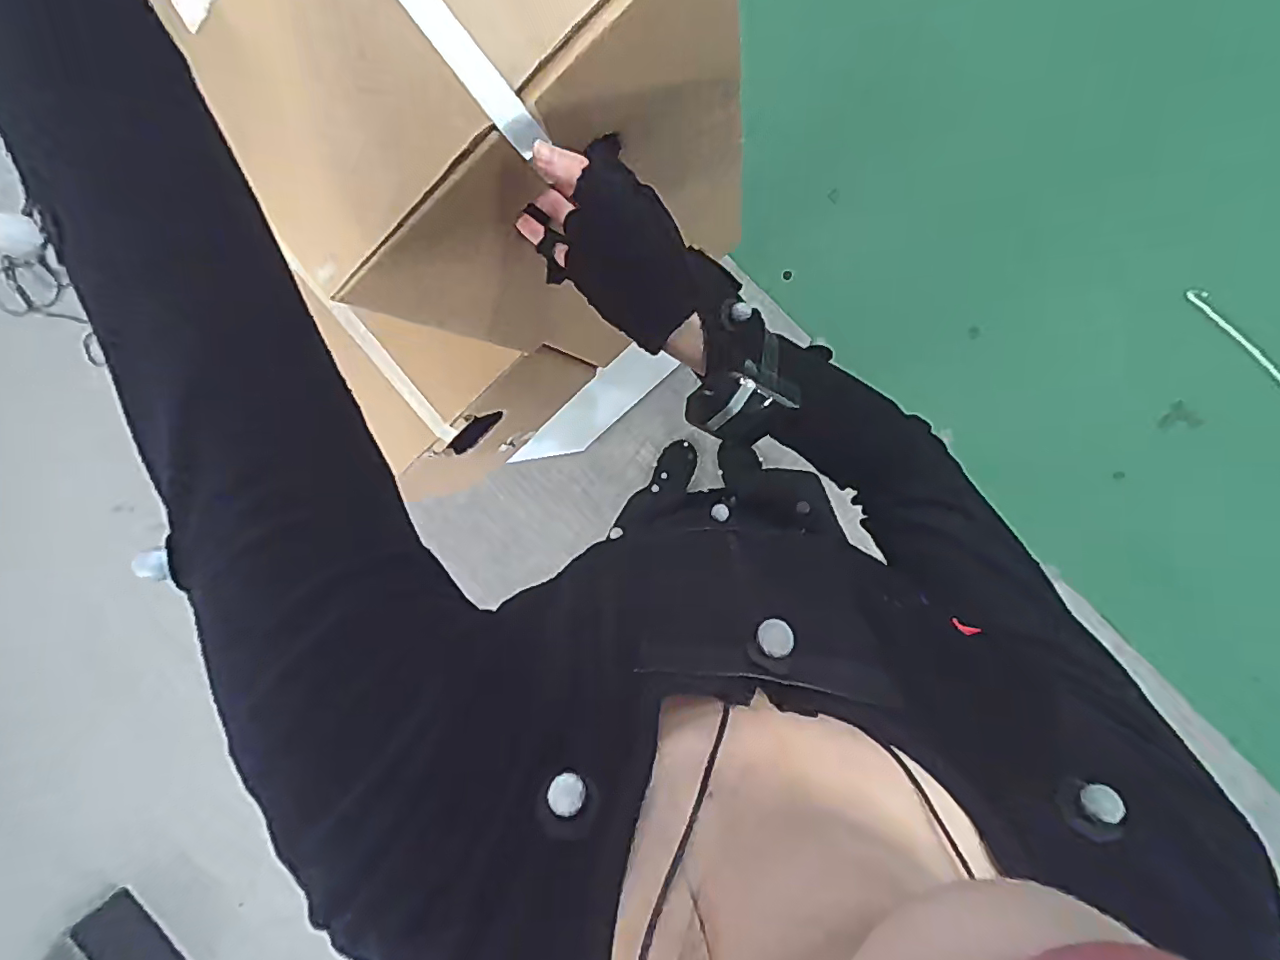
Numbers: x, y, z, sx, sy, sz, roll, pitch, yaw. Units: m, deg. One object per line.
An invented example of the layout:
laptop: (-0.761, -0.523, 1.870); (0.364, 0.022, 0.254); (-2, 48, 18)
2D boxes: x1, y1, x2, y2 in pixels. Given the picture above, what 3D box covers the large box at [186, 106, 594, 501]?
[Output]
large box: (-0.341, -0.228, 0.824); (0.320, 0.320, 0.408); (-42, 86, 11)
